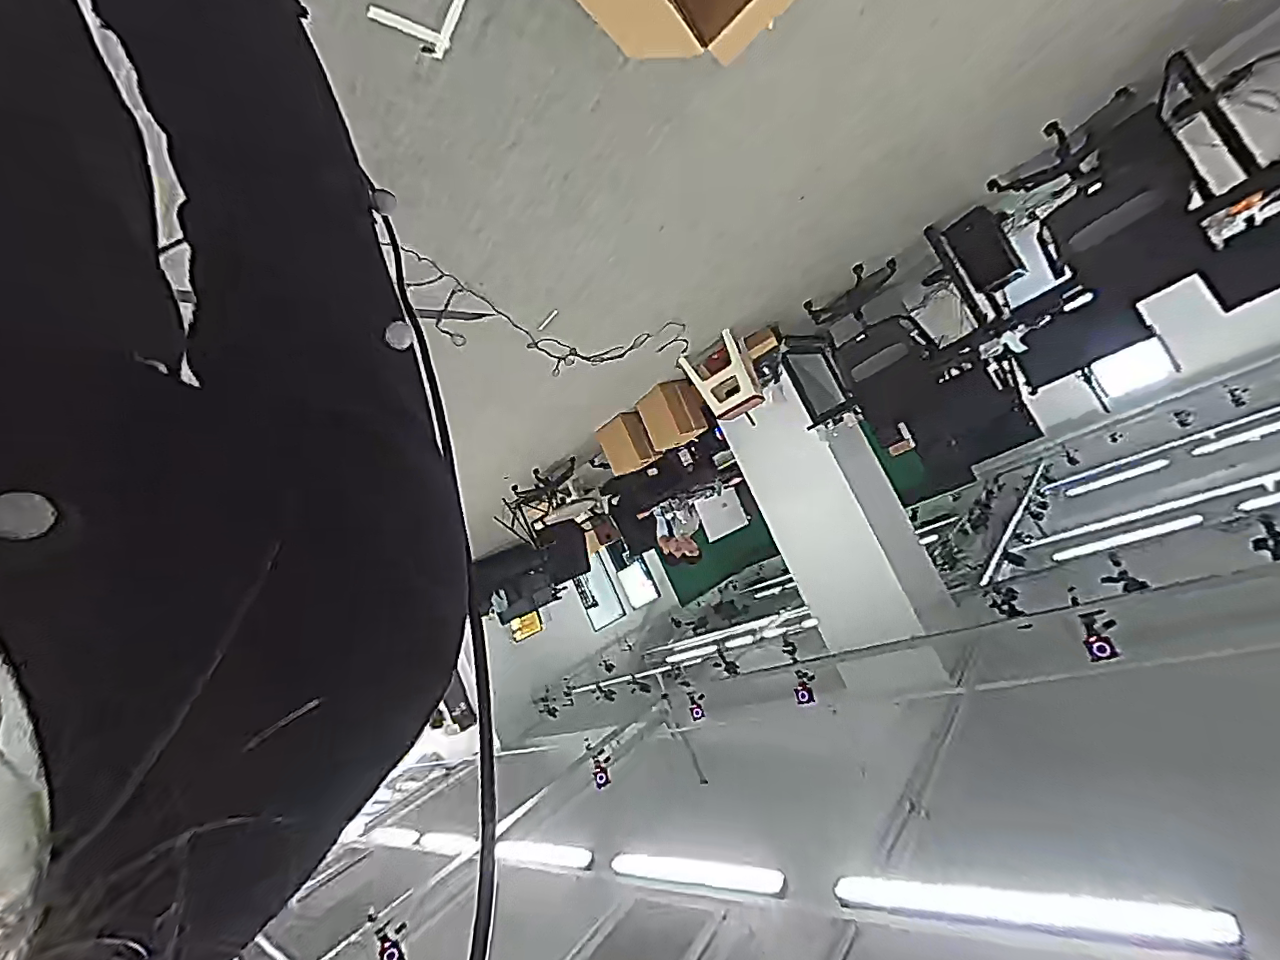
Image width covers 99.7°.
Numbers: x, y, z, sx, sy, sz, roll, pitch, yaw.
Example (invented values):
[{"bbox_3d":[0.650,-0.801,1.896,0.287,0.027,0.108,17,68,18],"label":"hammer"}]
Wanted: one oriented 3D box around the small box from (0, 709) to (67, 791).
[{"bbox_3d":[-1.836,0.797,1.585,0.168,0.176,0.179,-32,169,34],"label":"small box"}]
